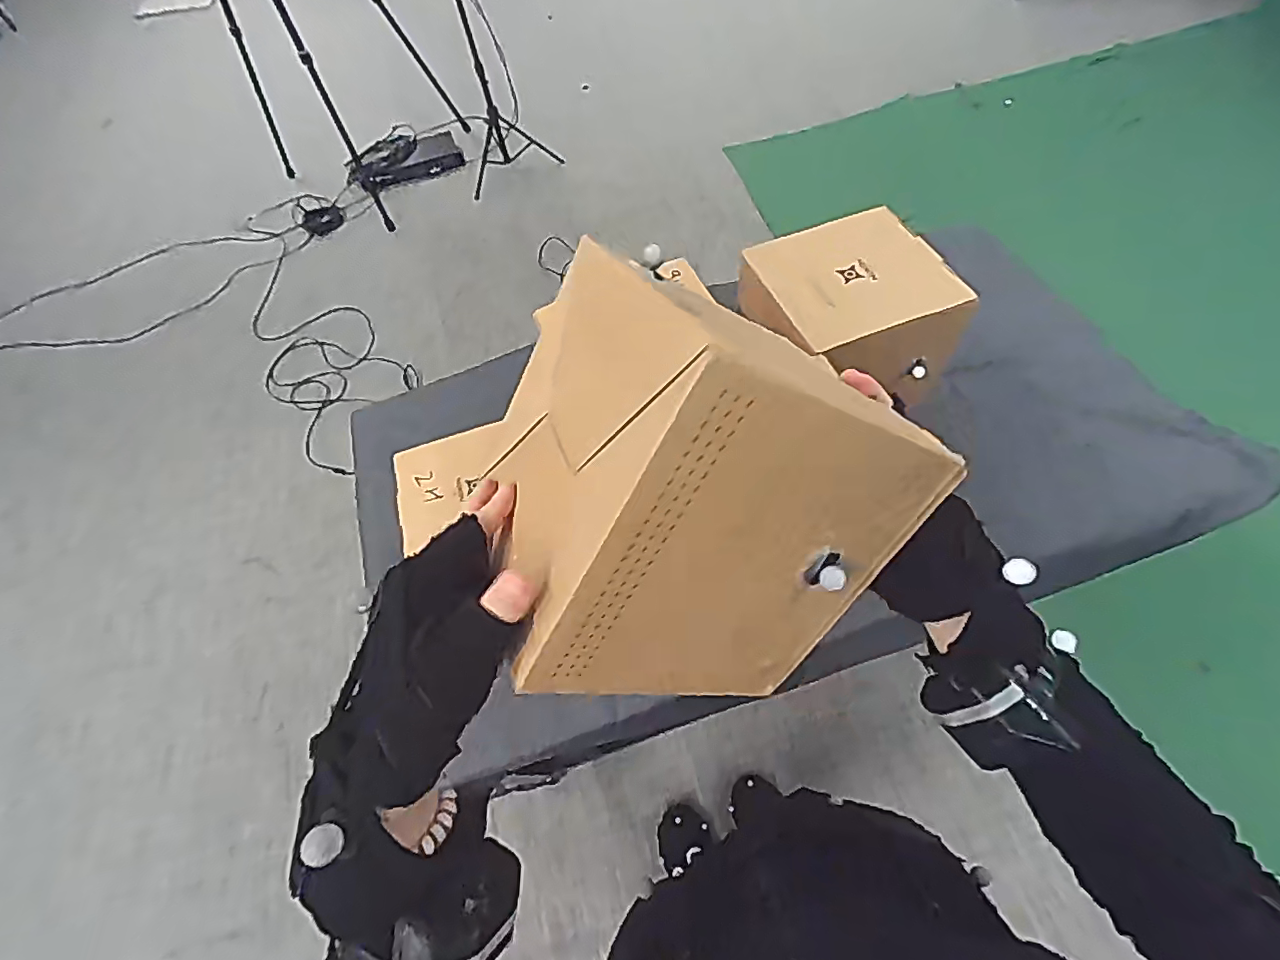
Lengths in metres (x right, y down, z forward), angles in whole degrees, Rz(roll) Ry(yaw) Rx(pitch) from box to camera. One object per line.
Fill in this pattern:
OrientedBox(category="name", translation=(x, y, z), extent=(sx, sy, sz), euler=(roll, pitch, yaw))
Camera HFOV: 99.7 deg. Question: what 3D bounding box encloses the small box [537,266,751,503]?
OrientedBox(category="small box", translation=(0.008, -0.099, 0.609), extent=(0.179, 0.176, 0.168), euler=(-22, 62, -6))
